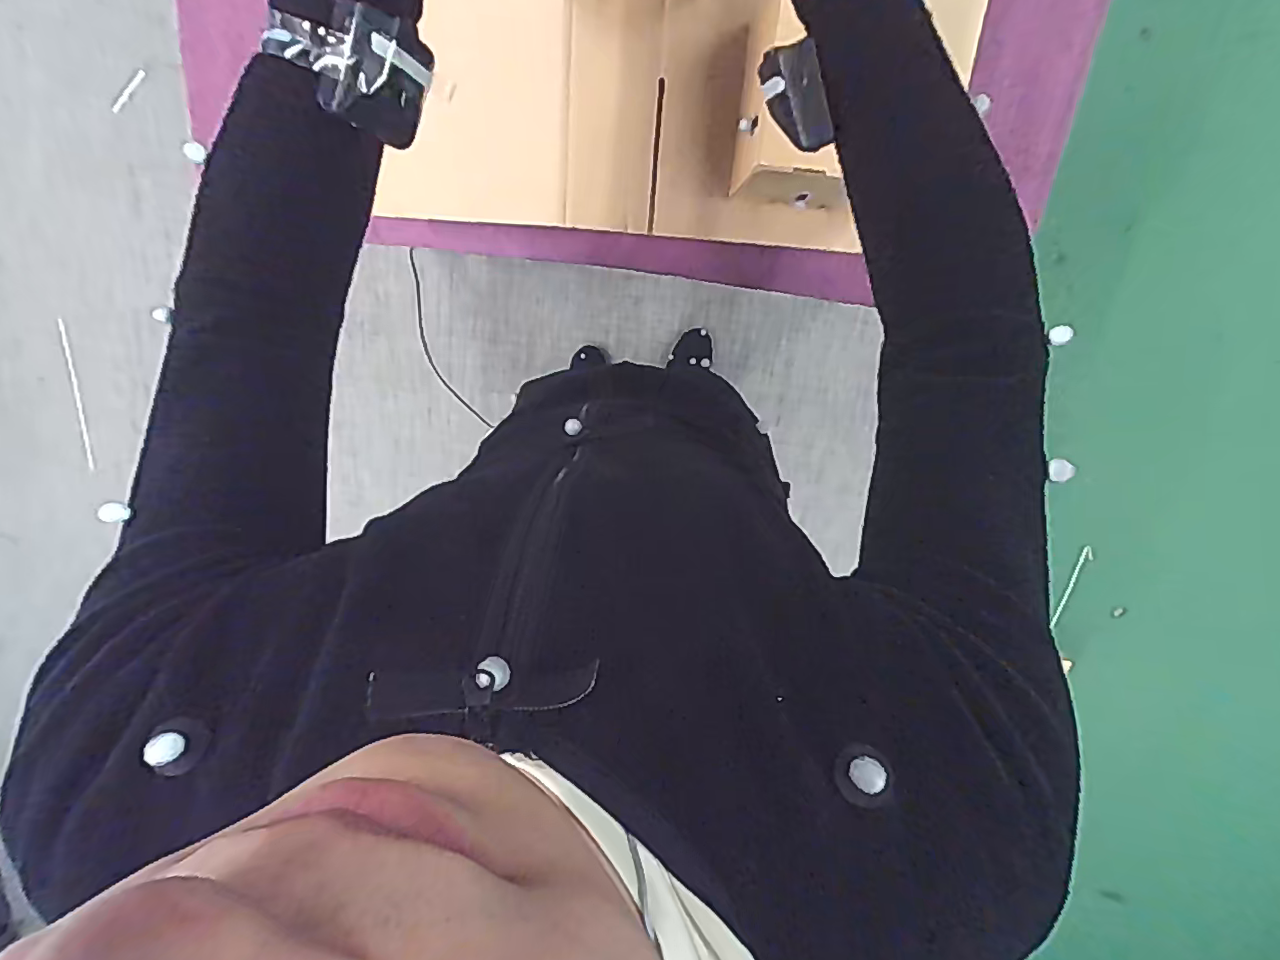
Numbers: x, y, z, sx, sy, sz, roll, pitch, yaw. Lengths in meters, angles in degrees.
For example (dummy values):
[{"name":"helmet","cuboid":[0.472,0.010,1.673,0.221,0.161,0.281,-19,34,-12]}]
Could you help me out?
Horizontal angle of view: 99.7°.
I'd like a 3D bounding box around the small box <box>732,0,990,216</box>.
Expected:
[{"name":"small box","cuboid":[0.188,-0.363,0.511,0.168,0.176,0.179,5,109,-1]}]
